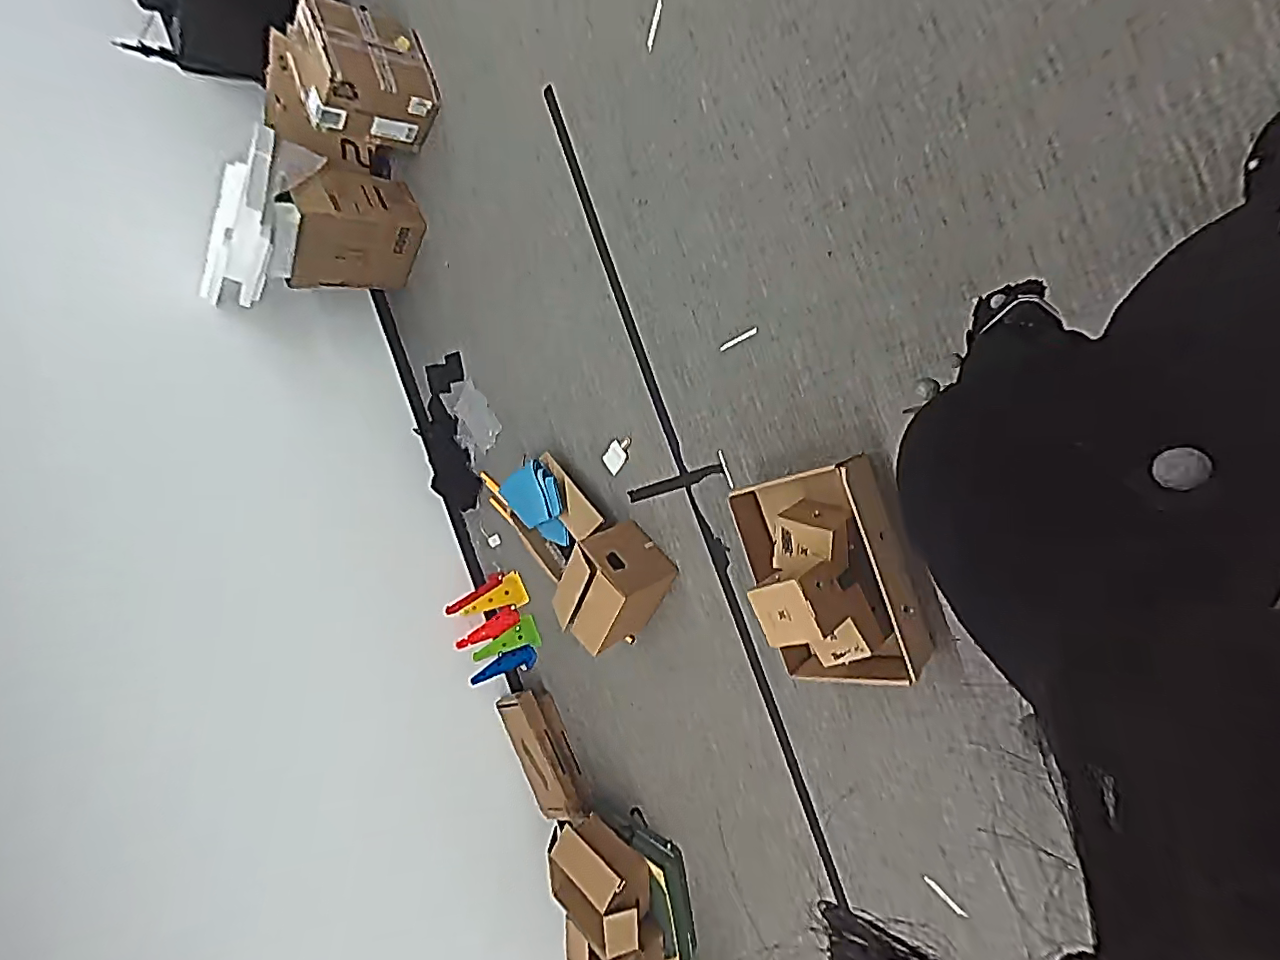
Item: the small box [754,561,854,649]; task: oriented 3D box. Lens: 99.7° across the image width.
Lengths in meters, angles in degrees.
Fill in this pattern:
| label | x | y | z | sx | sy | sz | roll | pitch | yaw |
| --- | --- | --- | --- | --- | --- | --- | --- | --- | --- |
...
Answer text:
| label | x | y | z | sx | sy | sz | roll | pitch | yaw |
| --- | --- | --- | --- | --- | --- | --- | --- | --- | --- |
| small box | 0.449 | 0.334 | 1.457 | 0.179 | 0.176 | 0.168 | -32 | 79 | 48 |
